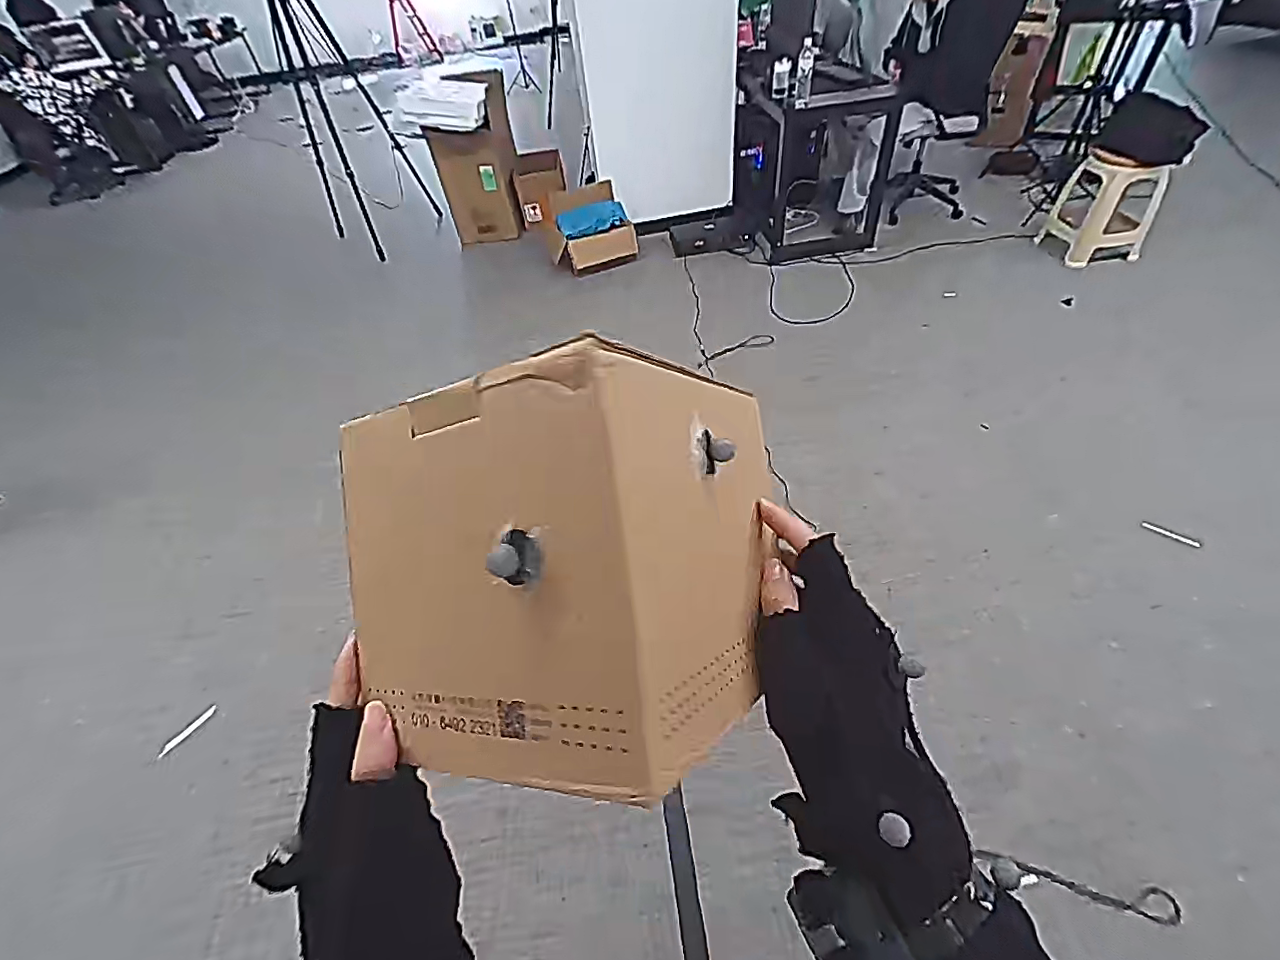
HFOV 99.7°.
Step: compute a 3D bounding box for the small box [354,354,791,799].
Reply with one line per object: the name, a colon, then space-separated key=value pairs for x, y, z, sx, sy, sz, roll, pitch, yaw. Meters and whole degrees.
small box: x=-0.027 y=0.047 z=0.304 sx=0.168 sy=0.179 sz=0.176 roll=-10 pitch=85 yaw=34
